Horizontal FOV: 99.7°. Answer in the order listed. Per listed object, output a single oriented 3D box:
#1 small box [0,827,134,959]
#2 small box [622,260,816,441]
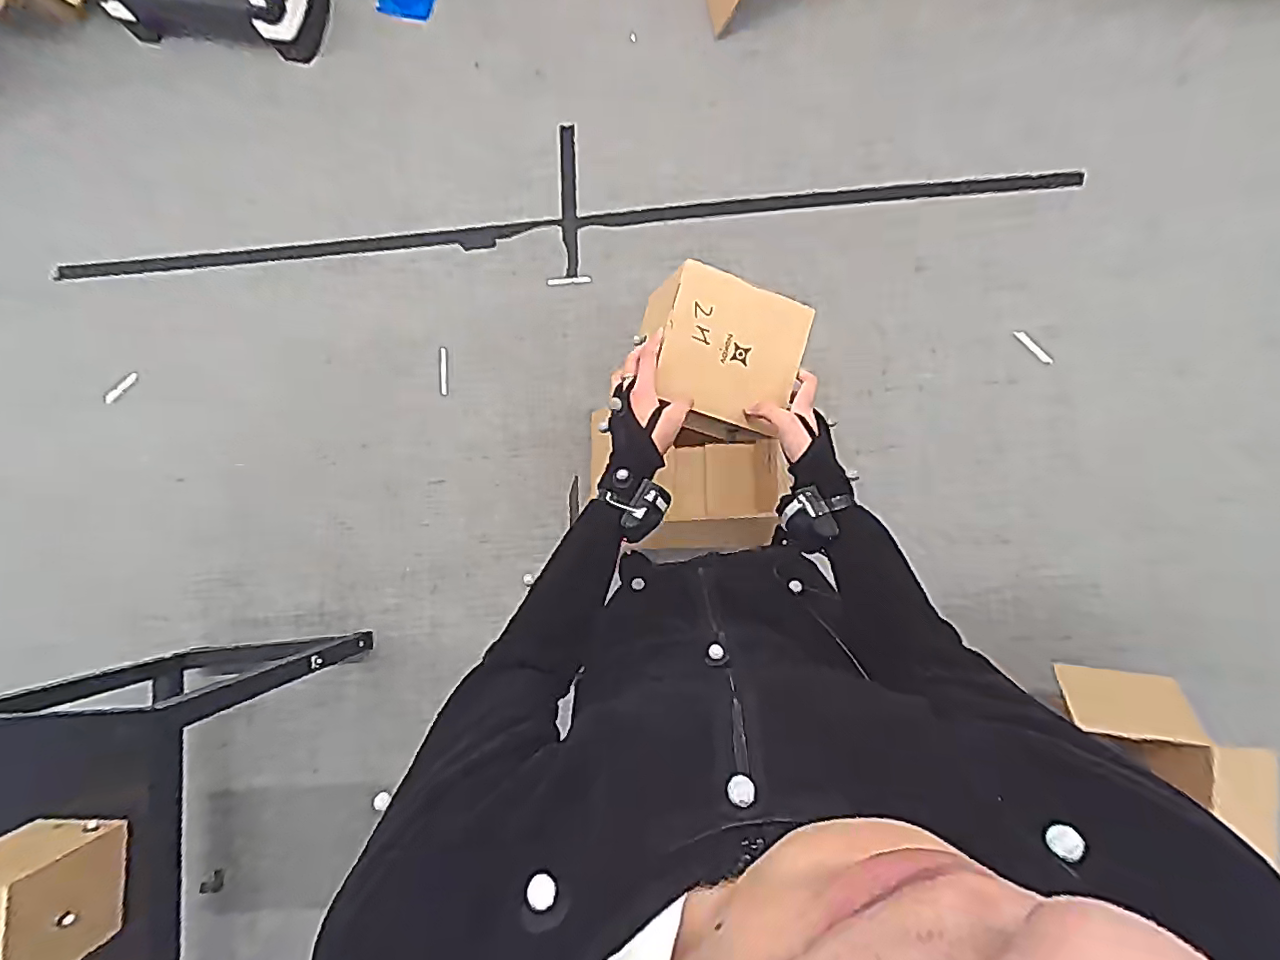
[{"bbox_3d":[-0.934,0.666,0.832,0.168,0.176,0.179,-2,86,4],"label":"small box"},{"bbox_3d":[0.092,-0.154,0.706,0.179,0.176,0.168,16,90,-13],"label":"small box"}]
